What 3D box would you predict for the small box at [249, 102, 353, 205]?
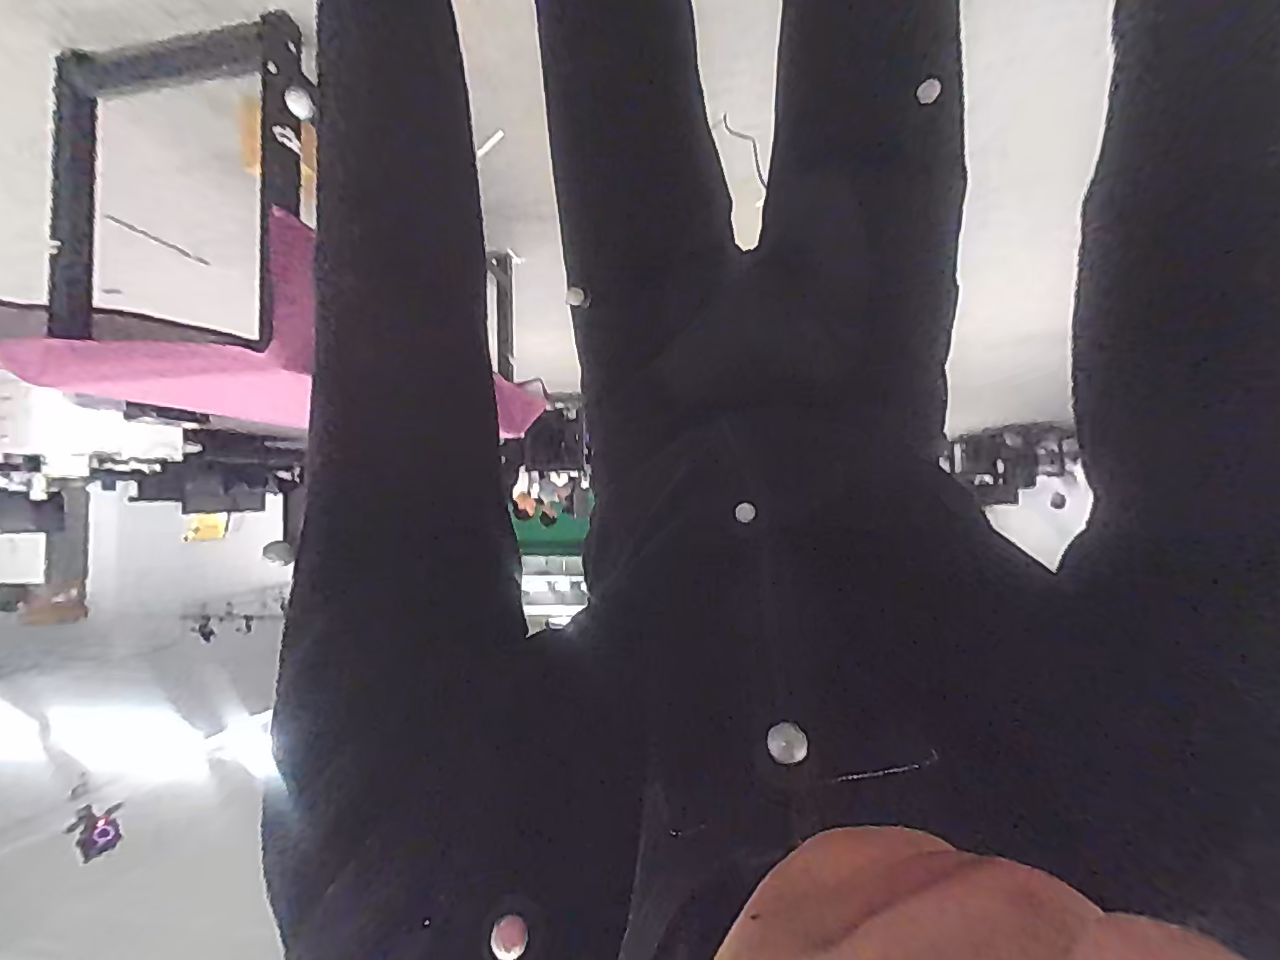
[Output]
[{"bbox_3d":[-0.881,-0.852,1.411,0.168,0.176,0.179,-1,179,8],"label":"small box"}]
